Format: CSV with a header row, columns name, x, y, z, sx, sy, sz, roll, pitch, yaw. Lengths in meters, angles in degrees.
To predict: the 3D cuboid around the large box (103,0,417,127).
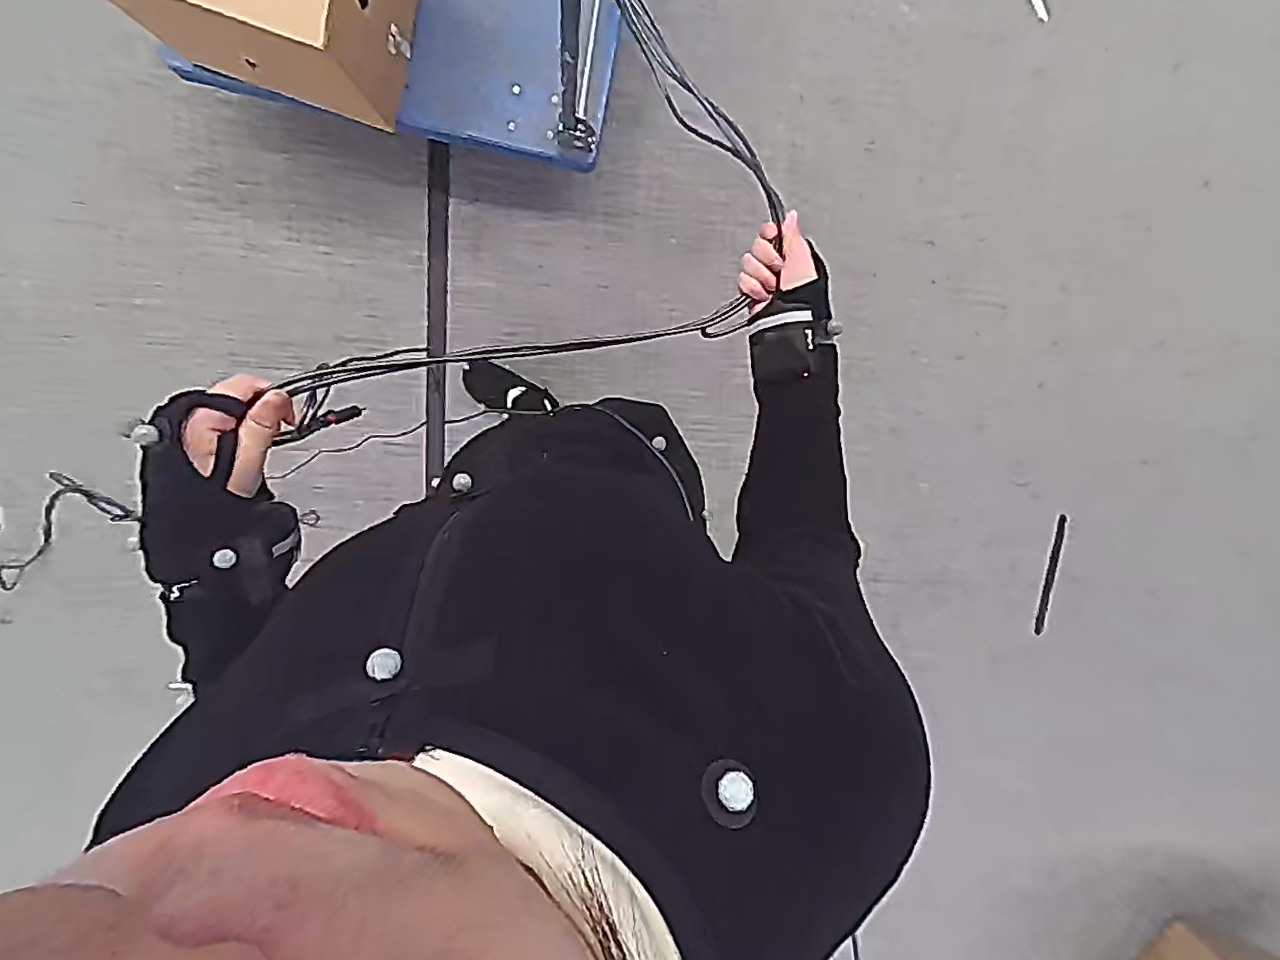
name,x,y,z,sx,sy,sz,roll,pitch,yaw
large box,-0.635,-0.871,0.905,0.408,0.320,0.320,15,100,-7
